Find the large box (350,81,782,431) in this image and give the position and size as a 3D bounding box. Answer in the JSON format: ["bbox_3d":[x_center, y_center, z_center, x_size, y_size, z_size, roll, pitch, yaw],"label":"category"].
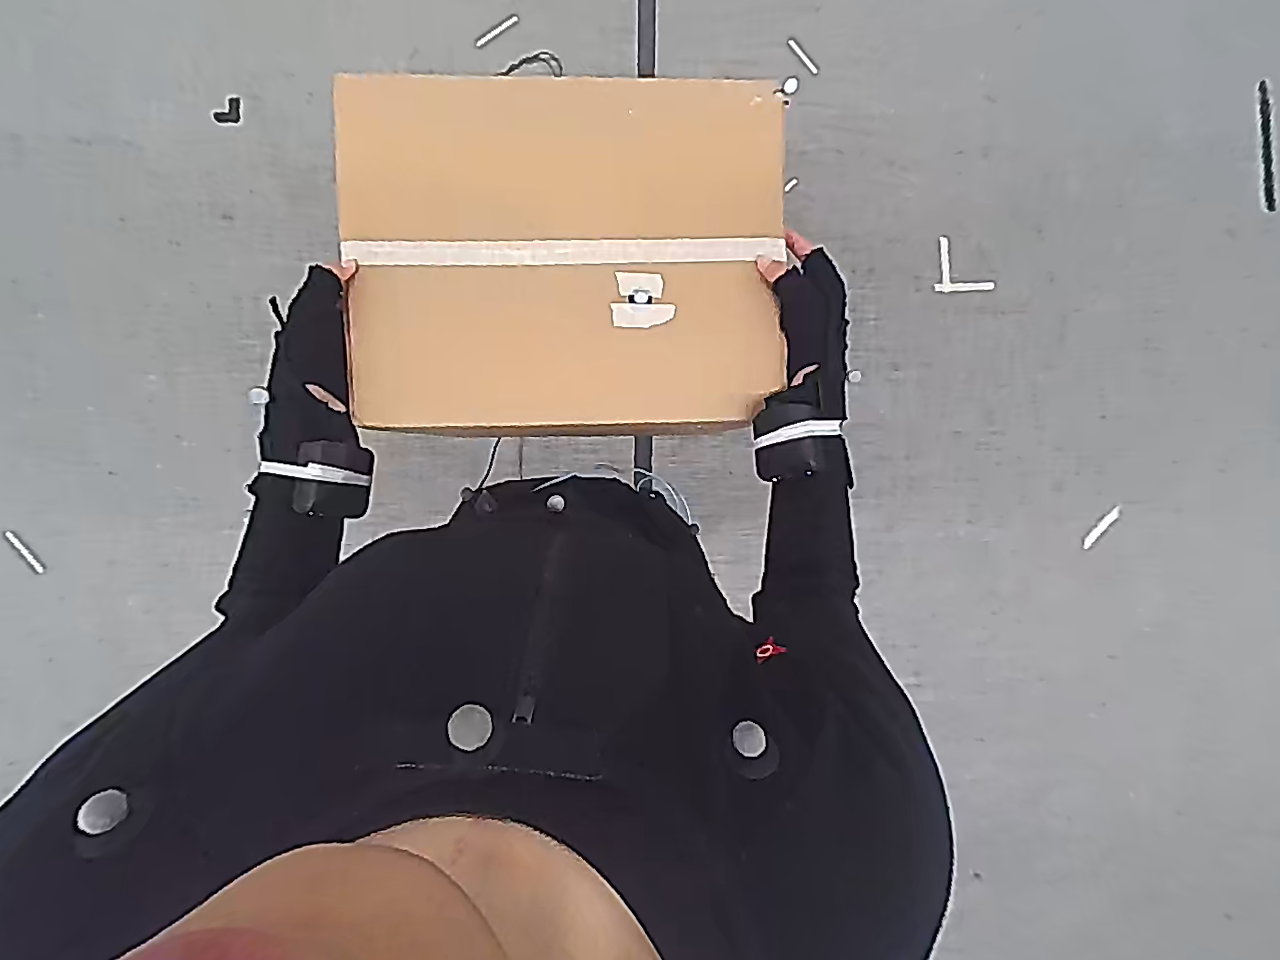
[{"bbox_3d":[-0.072,-0.224,0.658,0.408,0.320,0.320,-1,94,-3],"label":"large box"}]
